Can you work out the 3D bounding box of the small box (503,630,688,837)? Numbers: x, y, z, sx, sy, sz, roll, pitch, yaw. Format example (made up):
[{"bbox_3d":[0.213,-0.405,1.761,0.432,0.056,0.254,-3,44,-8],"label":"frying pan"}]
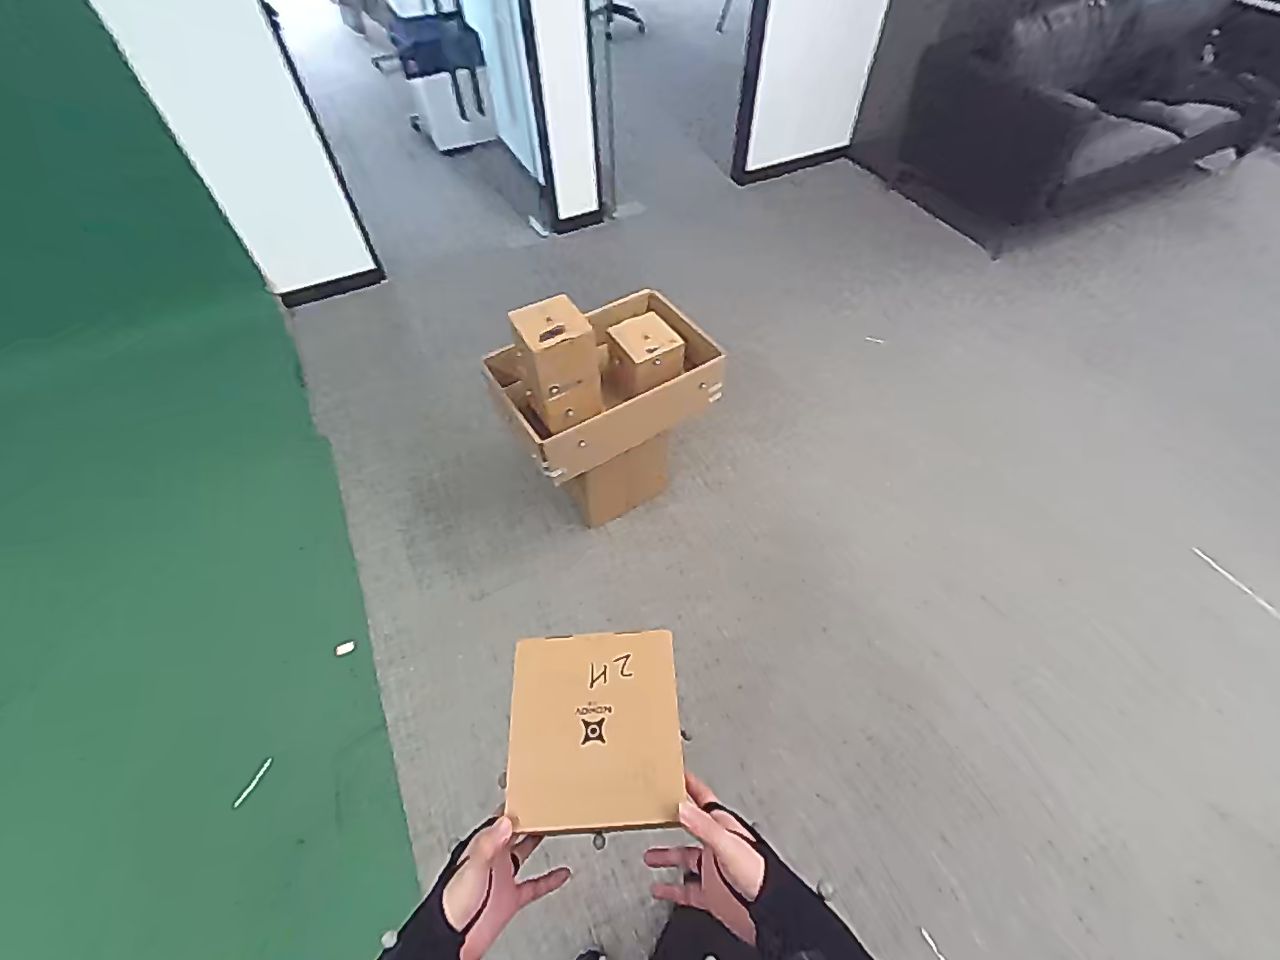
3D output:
[{"bbox_3d":[-0.037,0.275,0.578,0.168,0.176,0.179,-2,55,0],"label":"small box"}]

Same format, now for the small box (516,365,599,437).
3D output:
[{"bbox_3d":[-0.227,-0.244,1.536,0.168,0.176,0.179,-28,58,-19],"label":"small box"}]

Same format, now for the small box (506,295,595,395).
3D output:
[{"bbox_3d":[-0.226,-0.343,1.404,0.168,0.176,0.179,-24,56,-17],"label":"small box"}]
